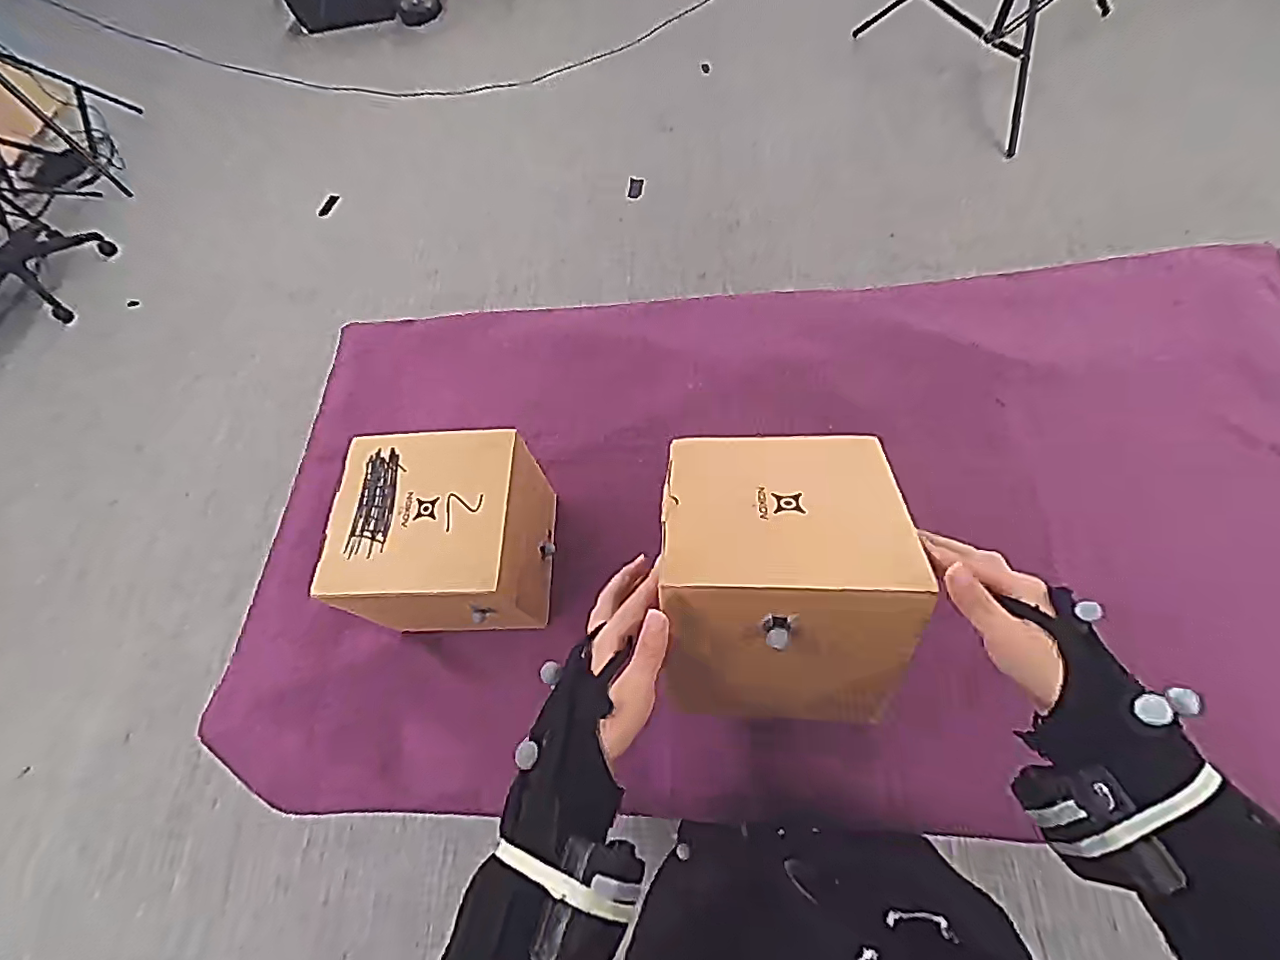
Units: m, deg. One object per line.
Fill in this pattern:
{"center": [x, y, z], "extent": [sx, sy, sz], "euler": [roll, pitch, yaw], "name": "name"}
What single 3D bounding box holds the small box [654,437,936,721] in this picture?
{"center": [0.110, 0.080, 0.448], "extent": [0.179, 0.176, 0.168], "euler": [-1, 37, 8], "name": "small box"}
